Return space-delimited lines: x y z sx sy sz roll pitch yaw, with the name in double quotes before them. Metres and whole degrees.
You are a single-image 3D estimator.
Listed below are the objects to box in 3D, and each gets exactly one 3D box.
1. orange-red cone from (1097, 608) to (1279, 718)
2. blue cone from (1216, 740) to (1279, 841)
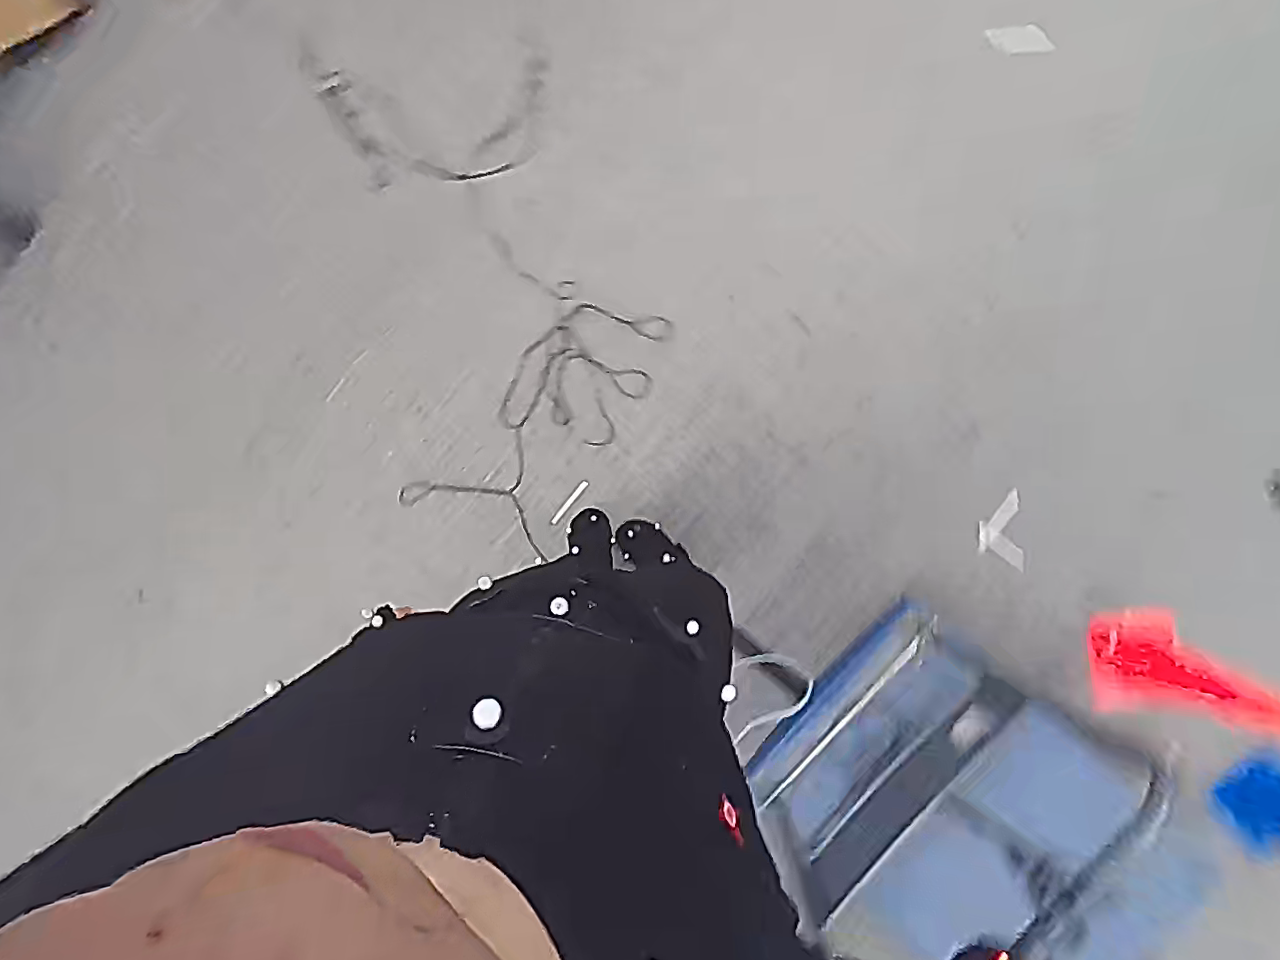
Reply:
"orange-red cone" 1.199 0.415 1.131 0.198 0.360 0.199 -7 91 4
"blue cone" 1.496 0.745 1.130 0.193 0.380 0.192 -37 87 2
